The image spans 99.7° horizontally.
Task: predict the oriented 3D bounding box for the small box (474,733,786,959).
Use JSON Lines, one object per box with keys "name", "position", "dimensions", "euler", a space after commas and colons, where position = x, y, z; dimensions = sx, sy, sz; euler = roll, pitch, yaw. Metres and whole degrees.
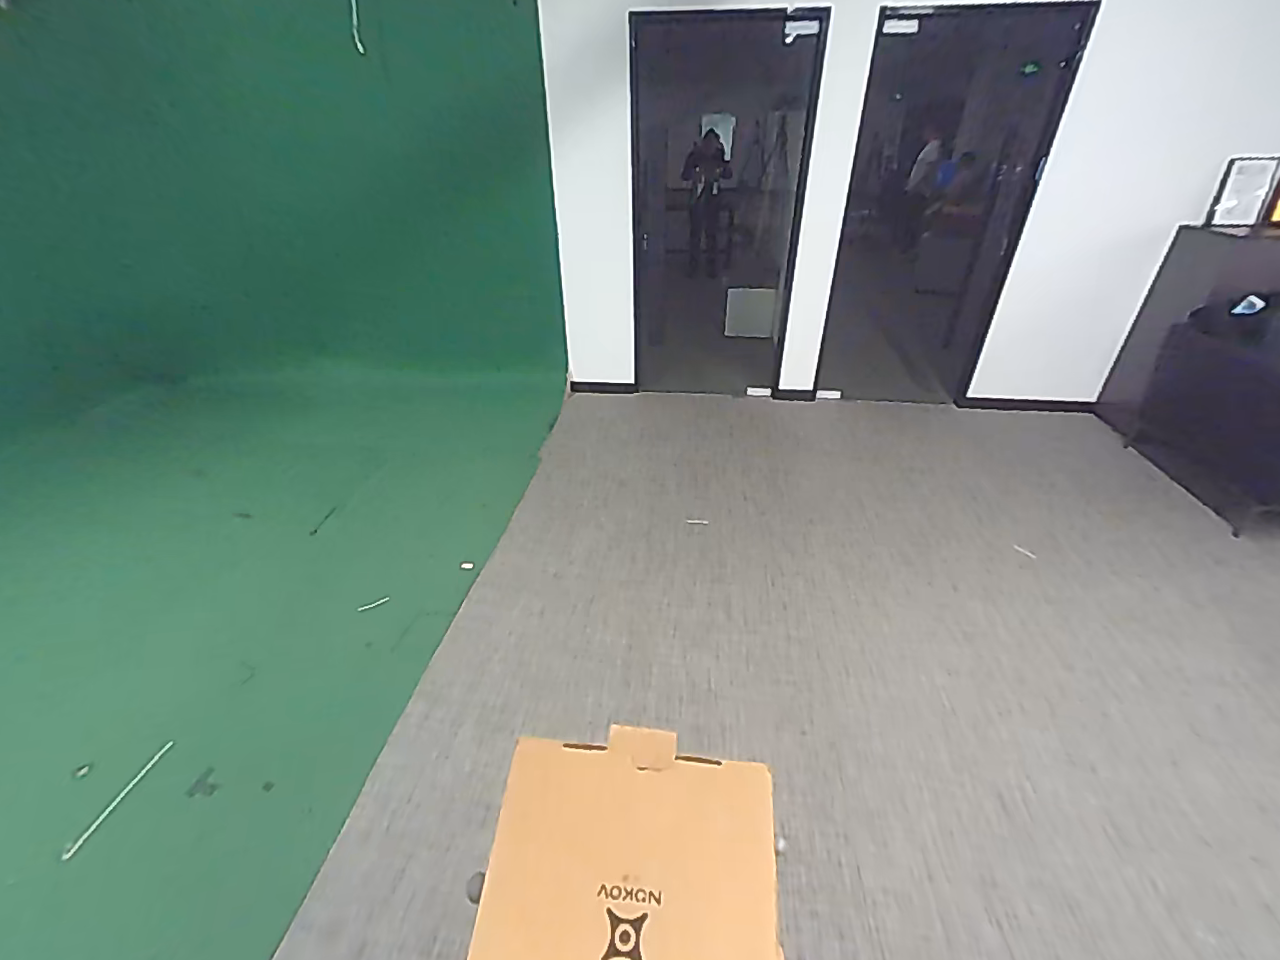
{"name": "small box", "position": [-0.004, 0.289, 0.356], "dimensions": [0.168, 0.176, 0.179], "euler": [5, 50, 2]}
